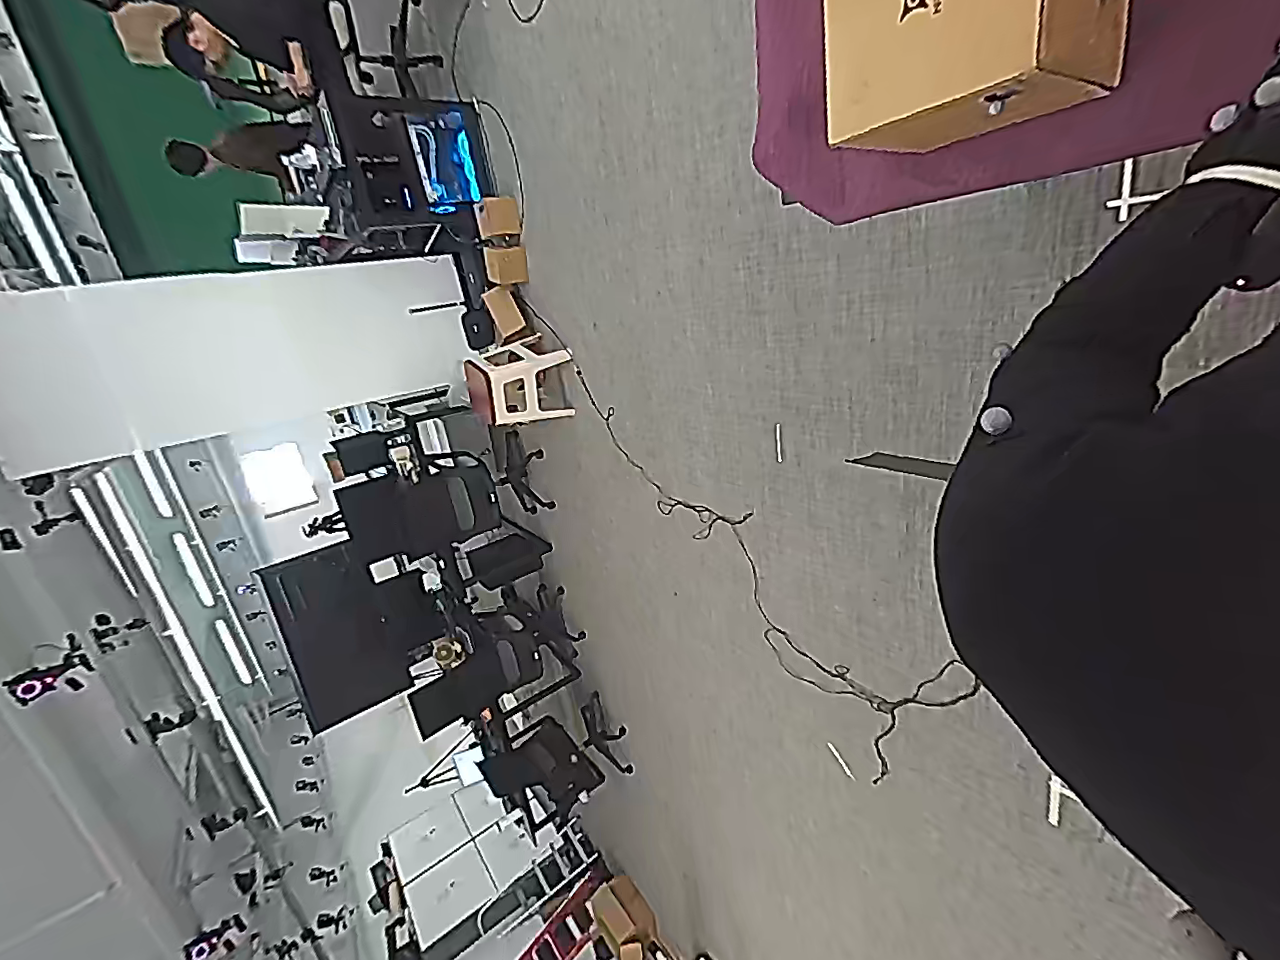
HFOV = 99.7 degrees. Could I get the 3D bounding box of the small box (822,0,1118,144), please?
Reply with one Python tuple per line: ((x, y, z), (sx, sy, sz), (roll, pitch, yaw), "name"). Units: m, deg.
((0.286, -0.414, 0.476), (0.179, 0.176, 0.168), (15, 119, 53), "small box")
